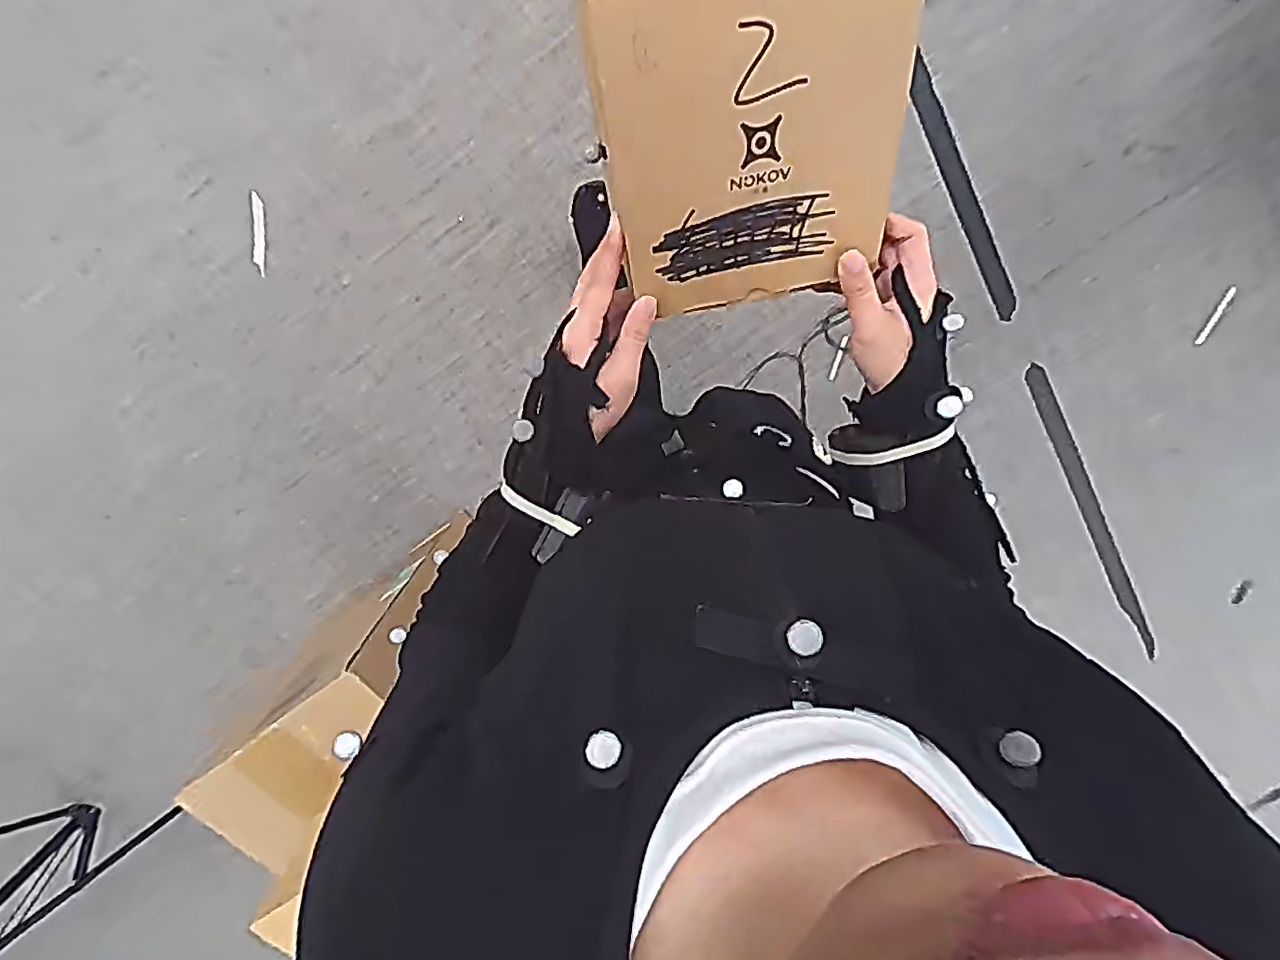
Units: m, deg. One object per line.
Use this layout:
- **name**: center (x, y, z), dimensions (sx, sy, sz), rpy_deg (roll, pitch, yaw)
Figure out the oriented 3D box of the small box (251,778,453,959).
- **small box**: center (-0.417, 0.590, 0.818), dimensions (0.168, 0.176, 0.179), rpy_deg (-35, 108, 9)
